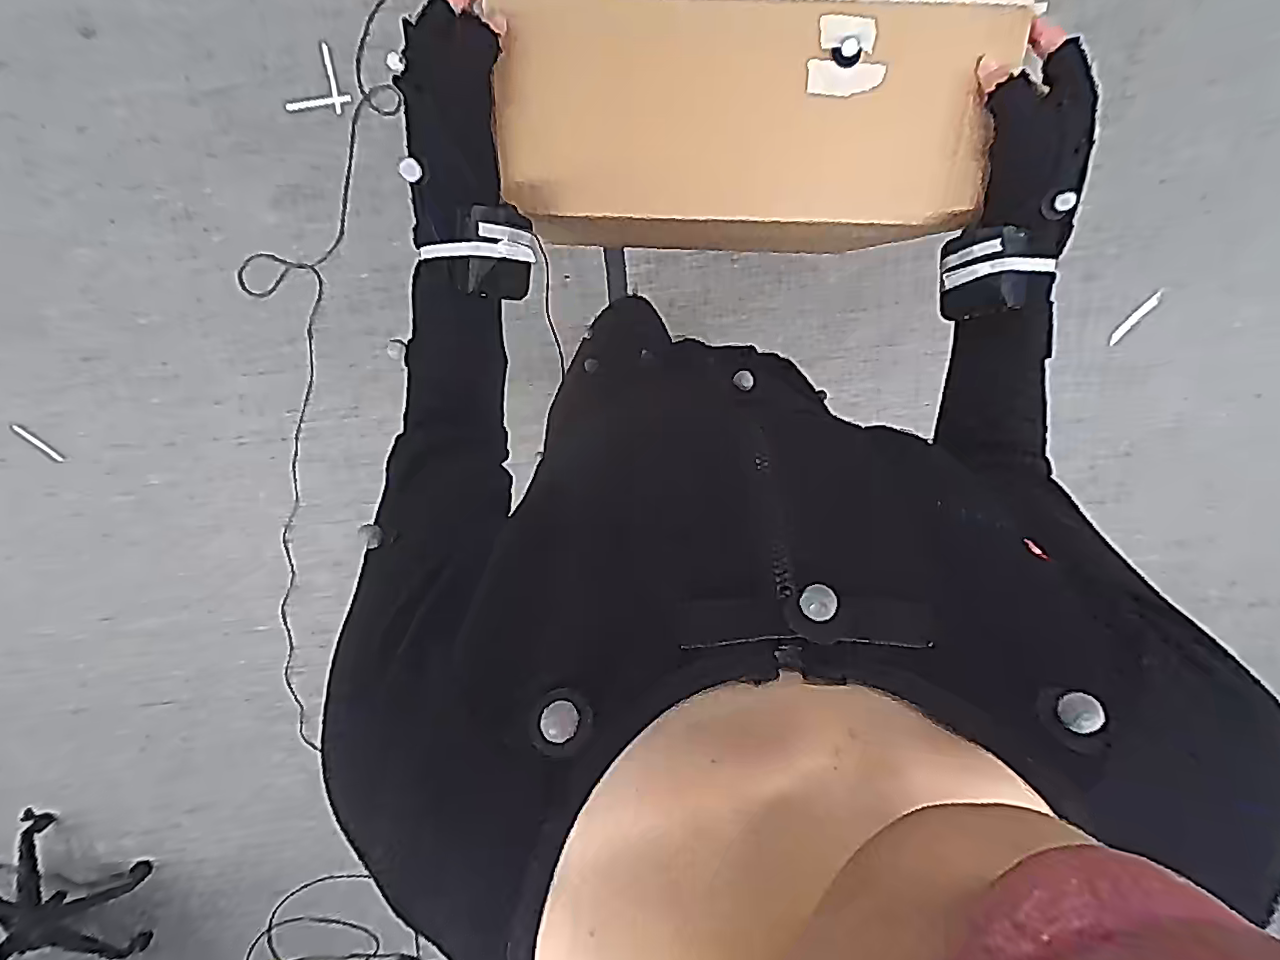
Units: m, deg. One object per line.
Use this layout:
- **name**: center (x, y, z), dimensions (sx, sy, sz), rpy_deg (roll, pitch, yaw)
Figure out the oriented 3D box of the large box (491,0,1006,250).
- **large box**: center (0.078, -0.416, 0.550), dimensions (0.408, 0.320, 0.320), rpy_deg (0, 109, -2)
